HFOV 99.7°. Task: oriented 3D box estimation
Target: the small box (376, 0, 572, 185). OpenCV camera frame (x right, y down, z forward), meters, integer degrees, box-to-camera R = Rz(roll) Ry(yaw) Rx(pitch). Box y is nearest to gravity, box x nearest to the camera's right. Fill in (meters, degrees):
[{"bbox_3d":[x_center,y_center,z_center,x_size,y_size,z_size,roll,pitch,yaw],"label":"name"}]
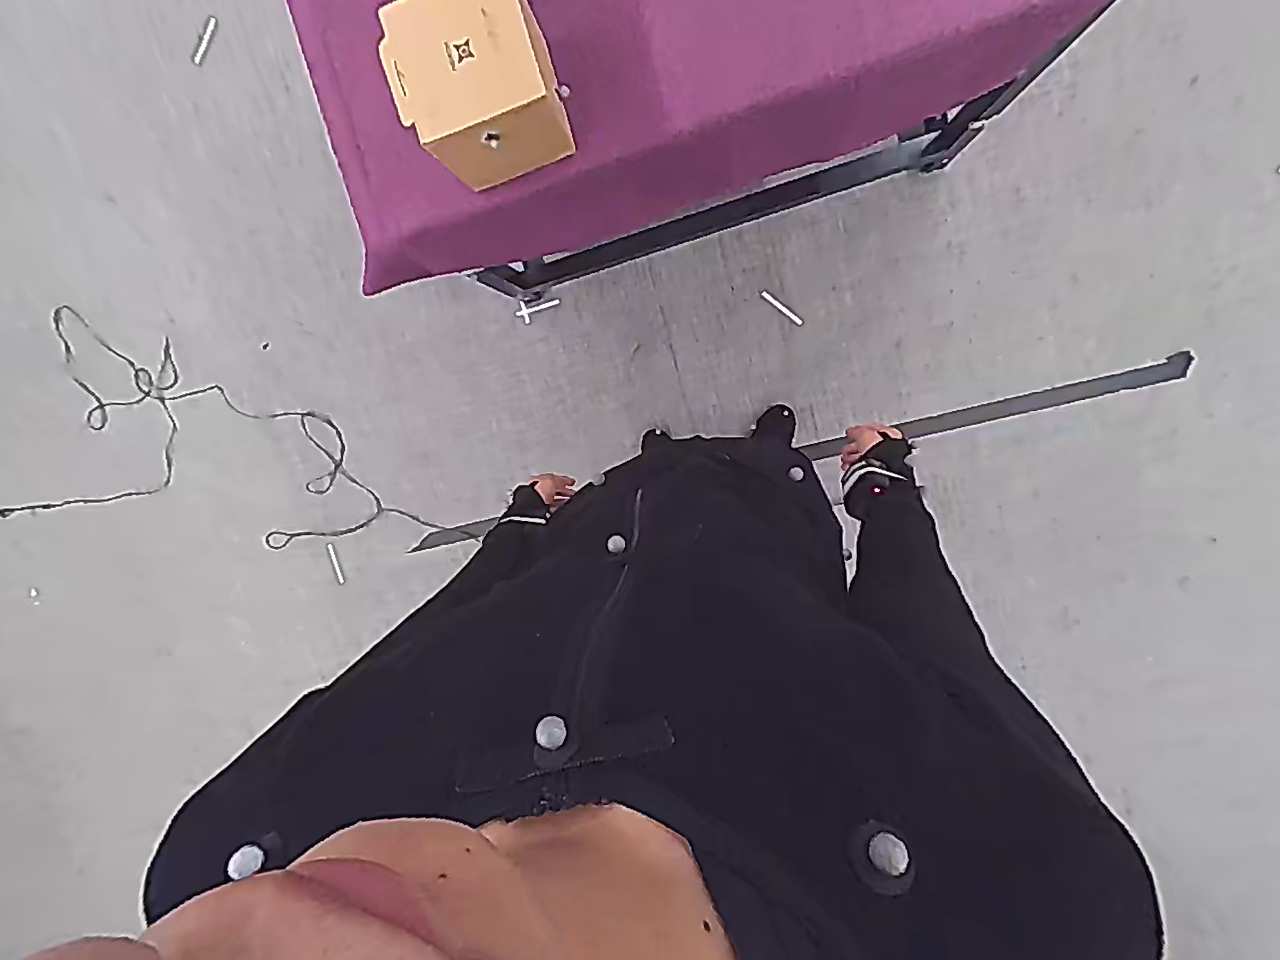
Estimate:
[{"bbox_3d":[-0.212,-0.535,0.736,0.179,0.176,0.168,-15,98,9],"label":"small box"}]
